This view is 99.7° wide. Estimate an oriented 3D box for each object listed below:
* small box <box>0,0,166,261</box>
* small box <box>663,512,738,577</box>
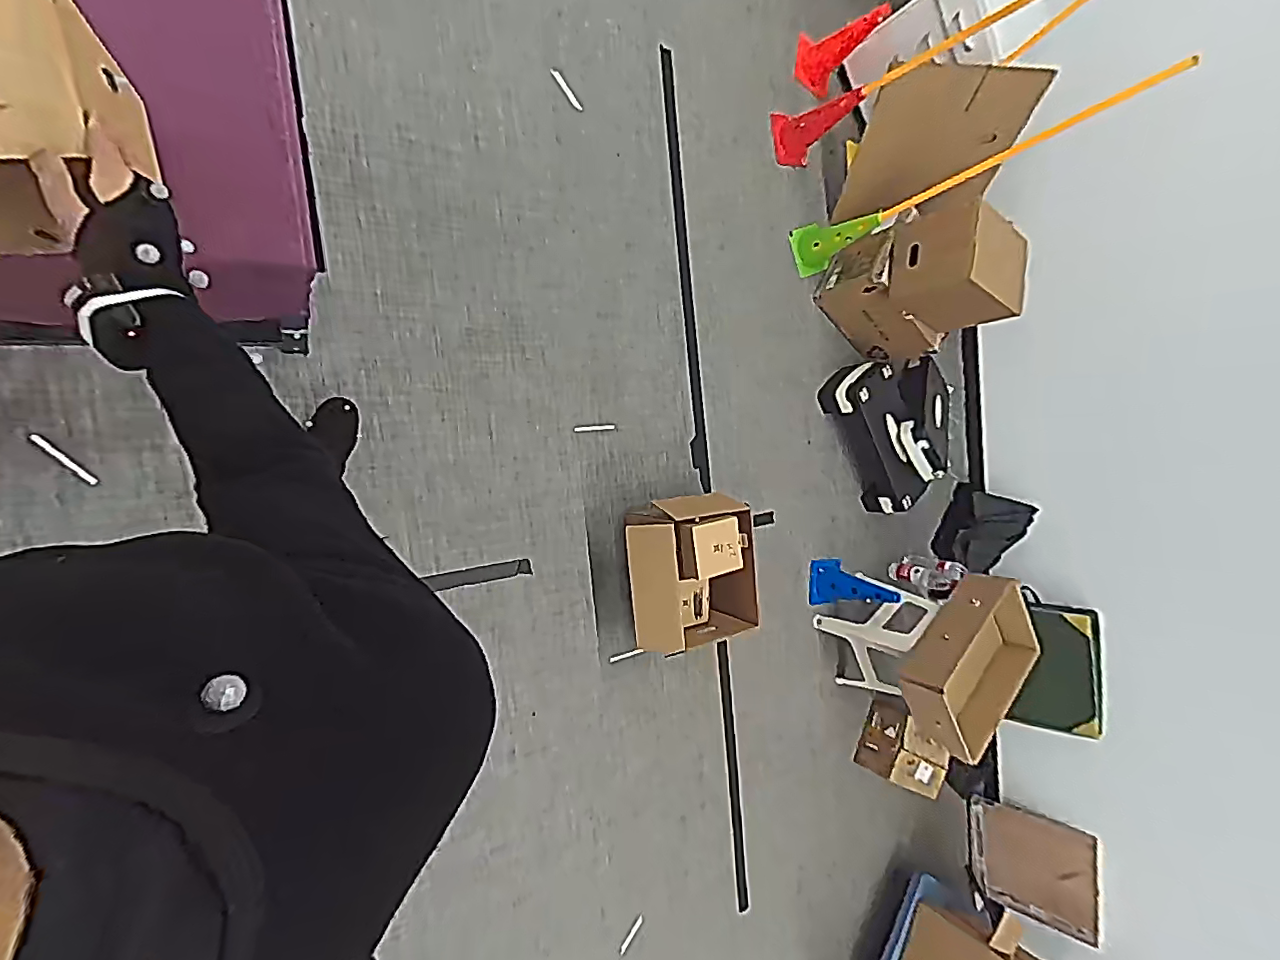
[{"bbox_3d":[-0.604,-0.334,0.518,0.168,0.176,0.179,-13,90,-21],"label":"small box"},{"bbox_3d":[0.187,0.200,1.720,0.179,0.176,0.168,-10,97,-31],"label":"small box"}]
